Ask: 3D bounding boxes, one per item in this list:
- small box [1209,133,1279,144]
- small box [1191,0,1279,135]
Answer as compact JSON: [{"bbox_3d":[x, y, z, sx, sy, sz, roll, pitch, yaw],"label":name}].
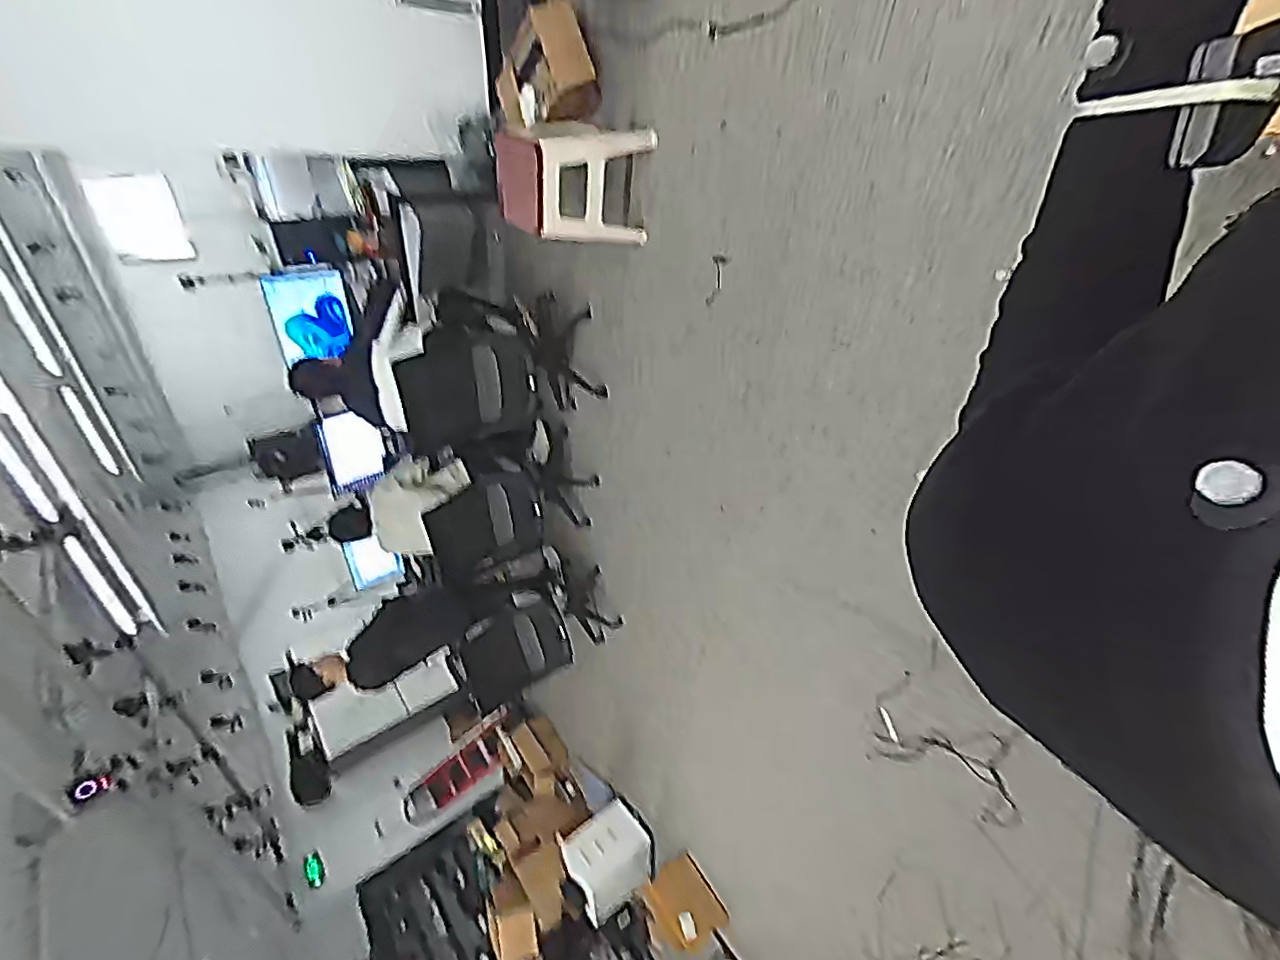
[{"bbox_3d":[1.029,-0.613,0.816,0.168,0.176,0.179,35,135,39],"label":"small box"},{"bbox_3d":[0.904,-0.568,0.724,0.168,0.176,0.179,31,130,40],"label":"small box"}]
